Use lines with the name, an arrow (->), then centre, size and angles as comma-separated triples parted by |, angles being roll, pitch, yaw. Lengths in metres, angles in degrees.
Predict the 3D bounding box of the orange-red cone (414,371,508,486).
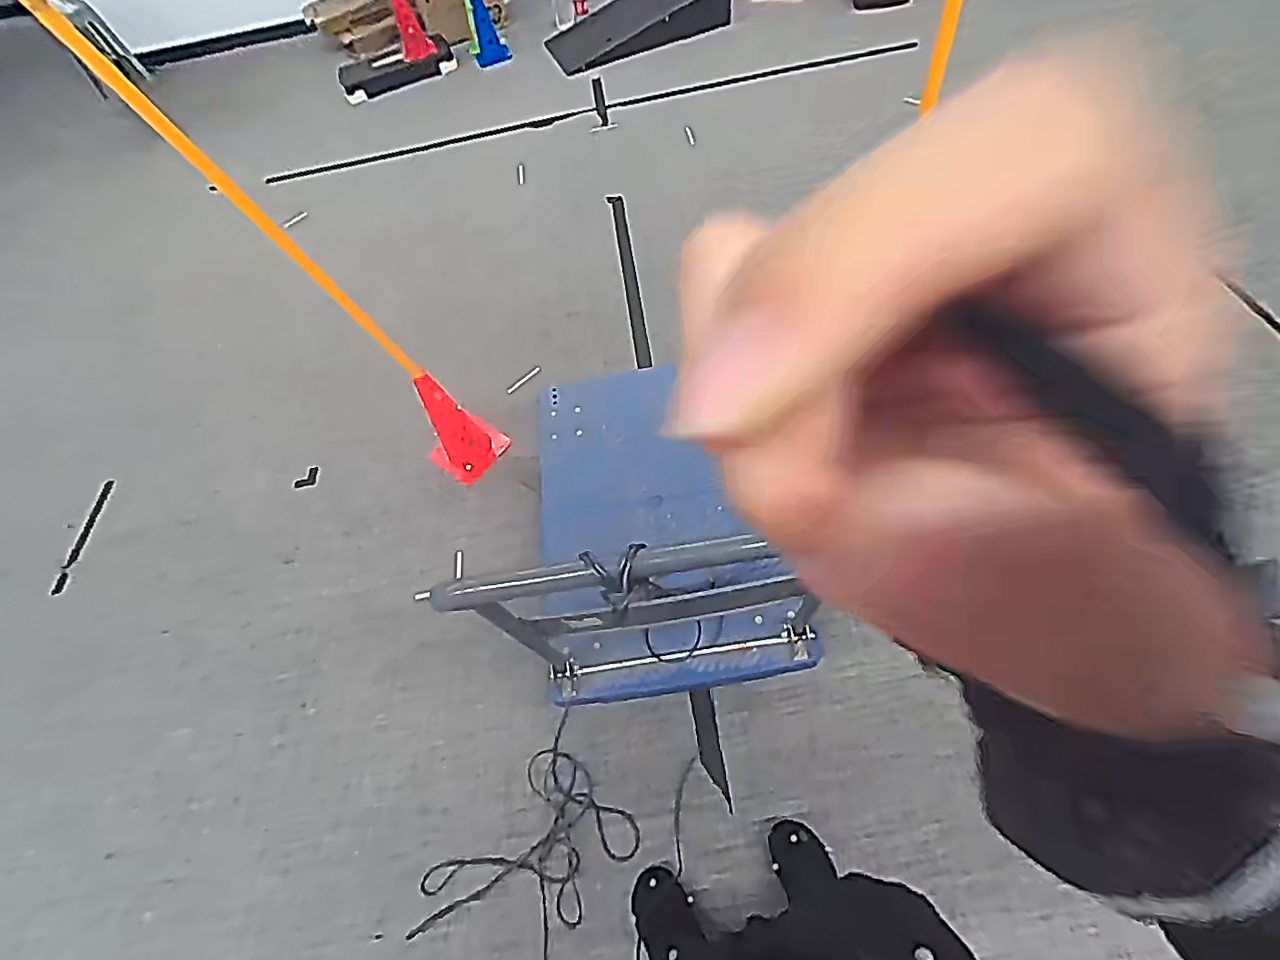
orange-red cone -> -0.553, -0.179, 1.550 | 0.198, 0.360, 0.199 | 31, 66, 23
